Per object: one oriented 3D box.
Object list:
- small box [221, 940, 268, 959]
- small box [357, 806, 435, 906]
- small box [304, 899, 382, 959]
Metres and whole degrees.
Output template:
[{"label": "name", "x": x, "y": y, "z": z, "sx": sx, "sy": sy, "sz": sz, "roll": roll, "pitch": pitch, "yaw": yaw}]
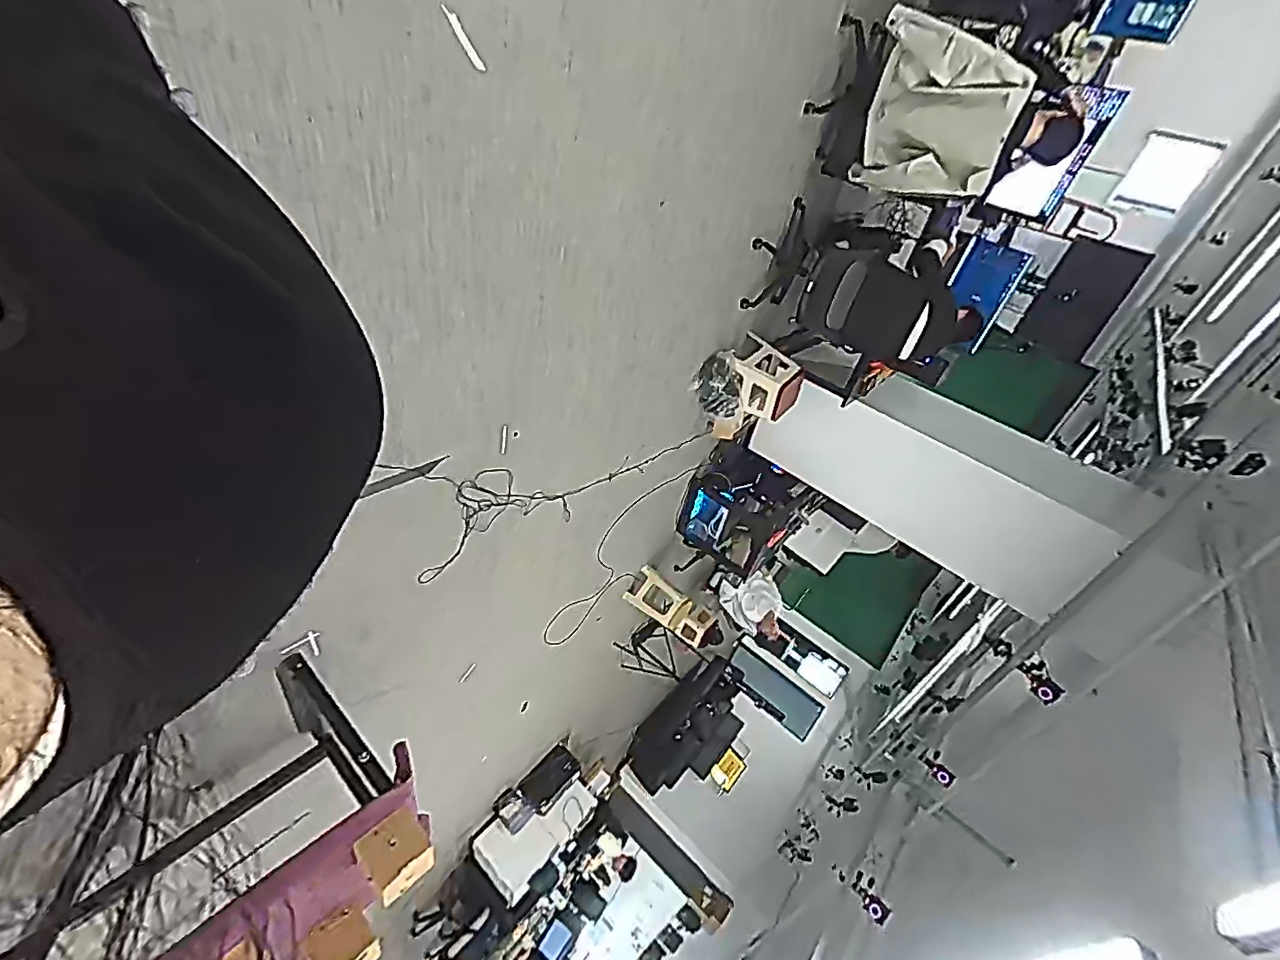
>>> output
[{"label": "small box", "x": -1.057, "y": 1.358, "z": 1.411, "sx": 0.168, "sy": 0.176, "sz": 0.179, "roll": -30, "pitch": 146, "yaw": -42}, {"label": "small box", "x": -0.762, "y": 1.165, "z": 1.689, "sx": 0.168, "sy": 0.176, "sz": 0.179, "roll": -28, "pitch": 144, "yaw": -44}, {"label": "small box", "x": -0.969, "y": 1.527, "z": 1.766, "sx": 0.168, "sy": 0.176, "sz": 0.179, "roll": -27, "pitch": 143, "yaw": -45}]
